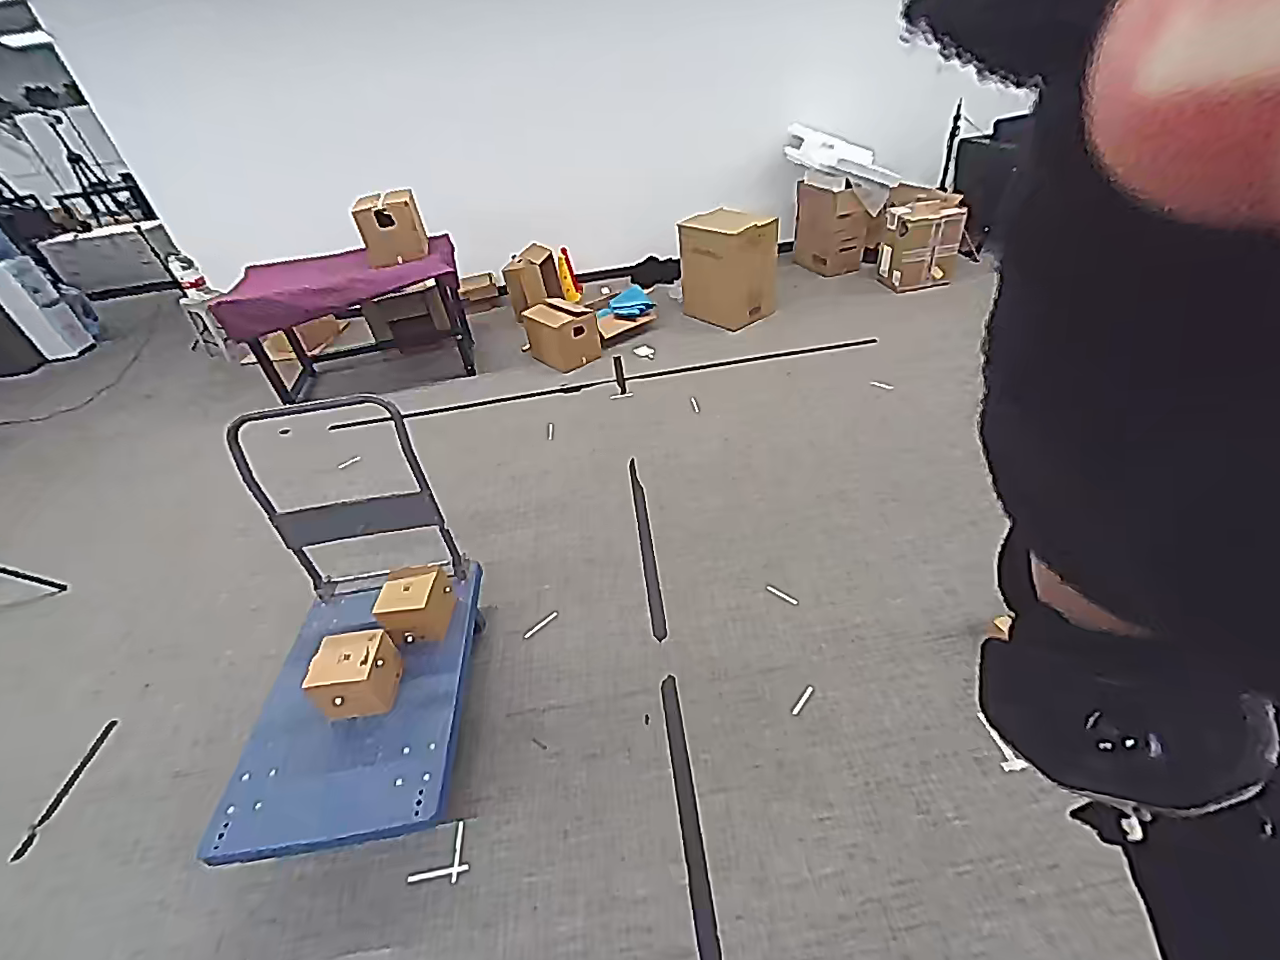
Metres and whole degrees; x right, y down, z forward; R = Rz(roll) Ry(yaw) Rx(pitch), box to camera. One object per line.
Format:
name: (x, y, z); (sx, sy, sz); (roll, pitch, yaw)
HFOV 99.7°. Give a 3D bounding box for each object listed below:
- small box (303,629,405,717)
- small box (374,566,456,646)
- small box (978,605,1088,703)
small box: (-0.800, 0.552, 1.533); (0.179, 0.176, 0.168); (-8, 39, 1)
small box: (-0.703, 0.399, 1.714); (0.168, 0.176, 0.179); (-7, 39, 4)
small box: (1.127, 0.505, 1.567); (0.168, 0.176, 0.179); (-21, 40, -16)
